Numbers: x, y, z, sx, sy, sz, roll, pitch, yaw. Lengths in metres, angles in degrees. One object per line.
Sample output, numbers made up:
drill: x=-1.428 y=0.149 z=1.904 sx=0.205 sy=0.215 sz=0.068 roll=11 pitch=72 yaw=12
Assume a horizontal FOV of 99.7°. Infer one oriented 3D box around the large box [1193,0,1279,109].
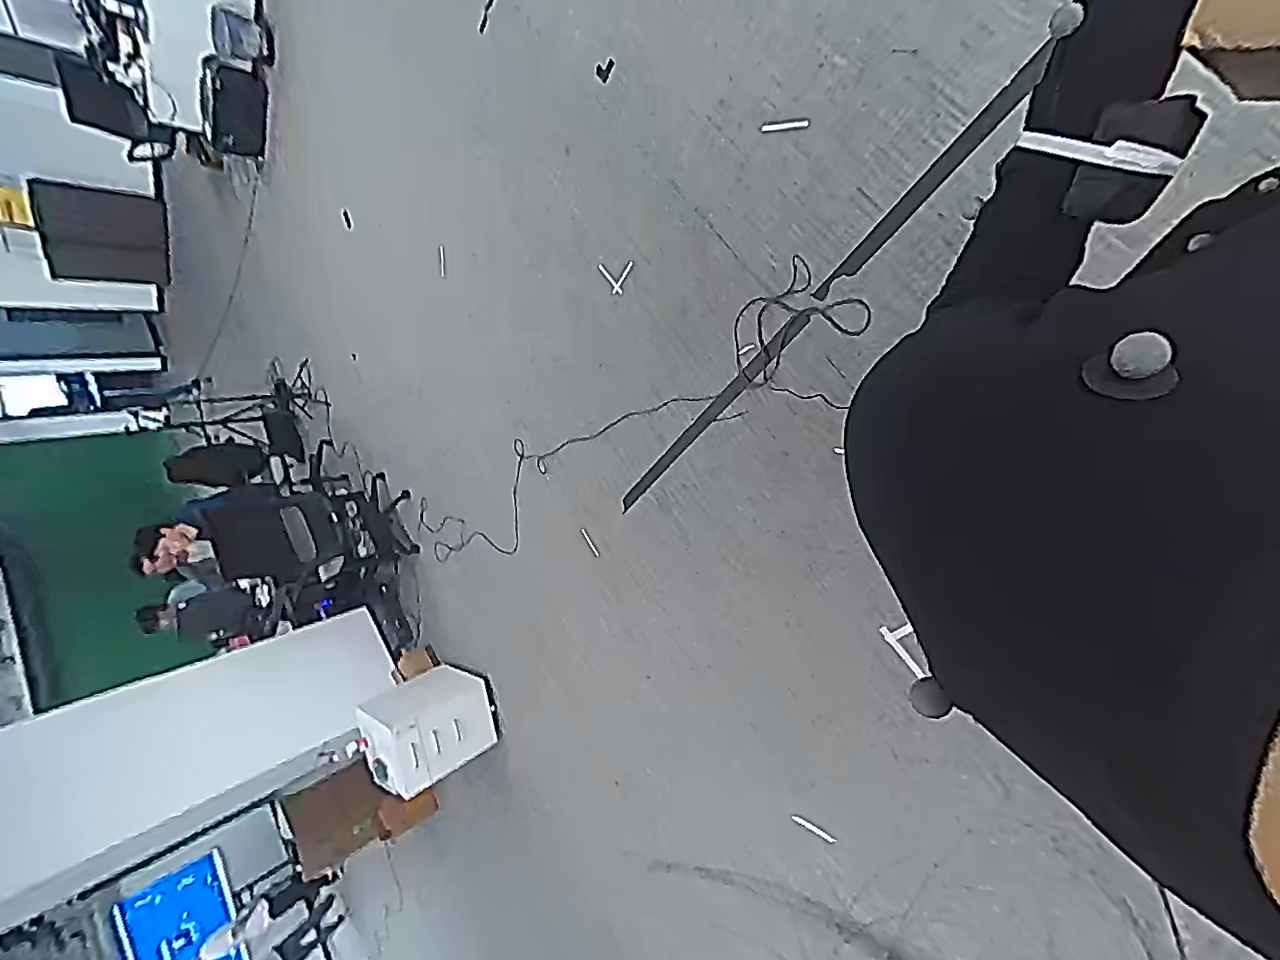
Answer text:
large box: x=0.558 y=-0.334 z=0.195 sx=0.408 sy=0.320 sz=0.320 roll=33 pitch=133 yaw=37
